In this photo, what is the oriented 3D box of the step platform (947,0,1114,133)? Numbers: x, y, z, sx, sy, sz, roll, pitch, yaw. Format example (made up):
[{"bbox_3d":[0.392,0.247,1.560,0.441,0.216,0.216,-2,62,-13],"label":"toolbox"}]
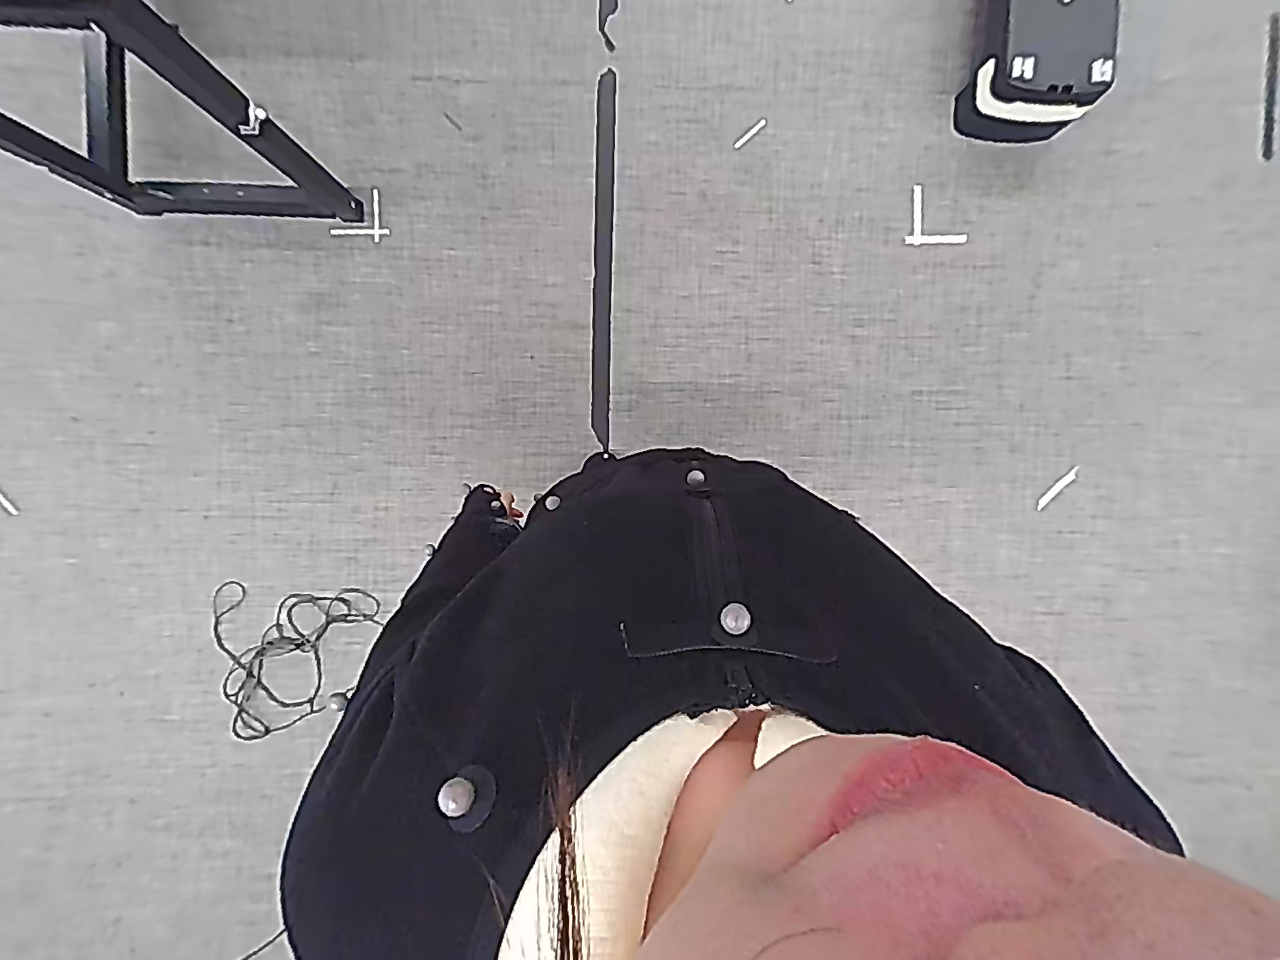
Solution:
[{"bbox_3d":[1.004,-1.278,1.354,0.286,0.204,0.684,6,92,-2],"label":"step platform"}]
